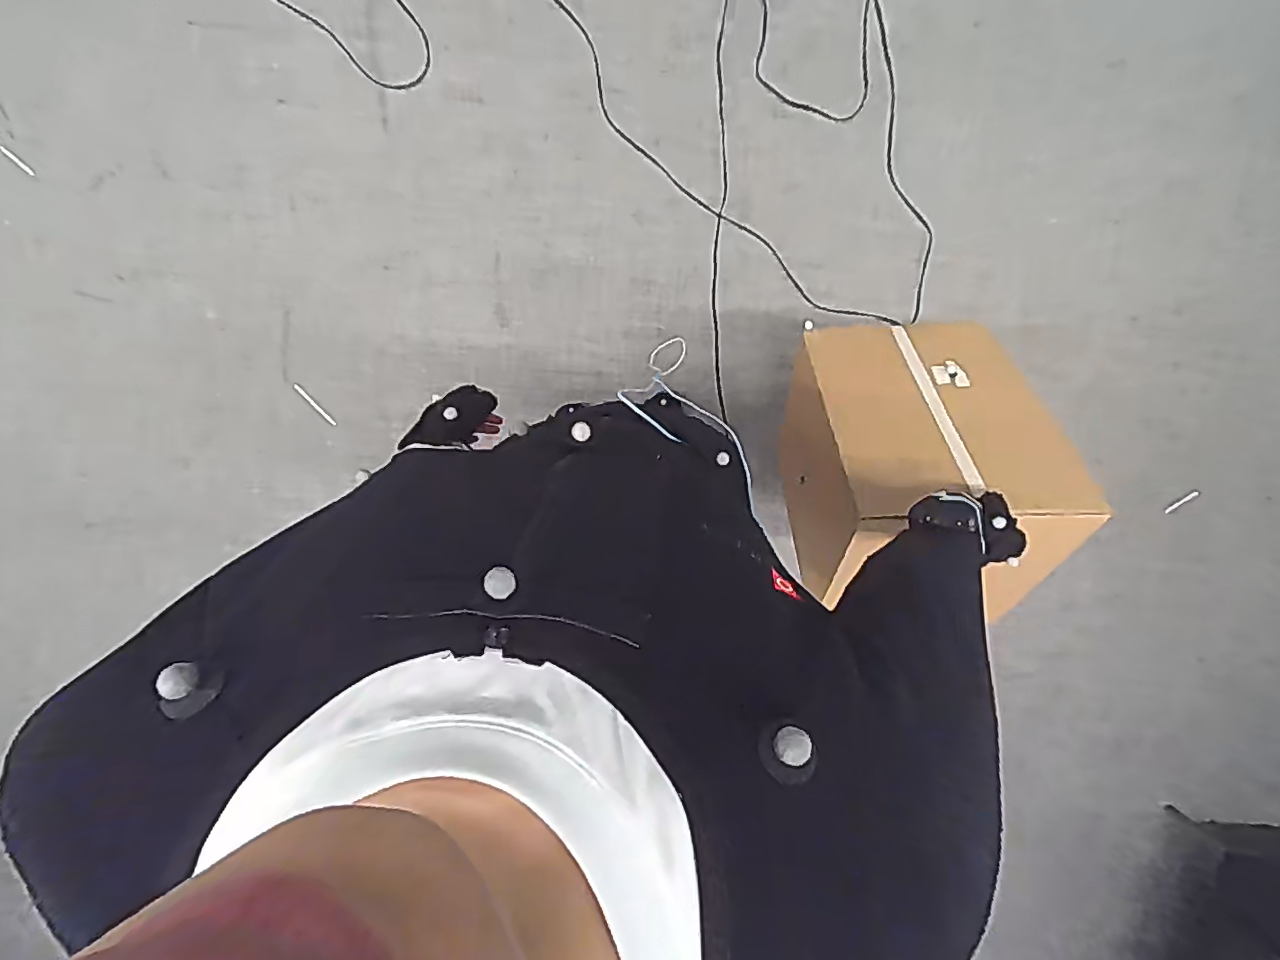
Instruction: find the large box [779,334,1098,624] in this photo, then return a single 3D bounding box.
[{"bbox_3d":[0.443,-0.003,0.934,0.320,0.408,0.320,0,139,2],"label":"large box"}]
